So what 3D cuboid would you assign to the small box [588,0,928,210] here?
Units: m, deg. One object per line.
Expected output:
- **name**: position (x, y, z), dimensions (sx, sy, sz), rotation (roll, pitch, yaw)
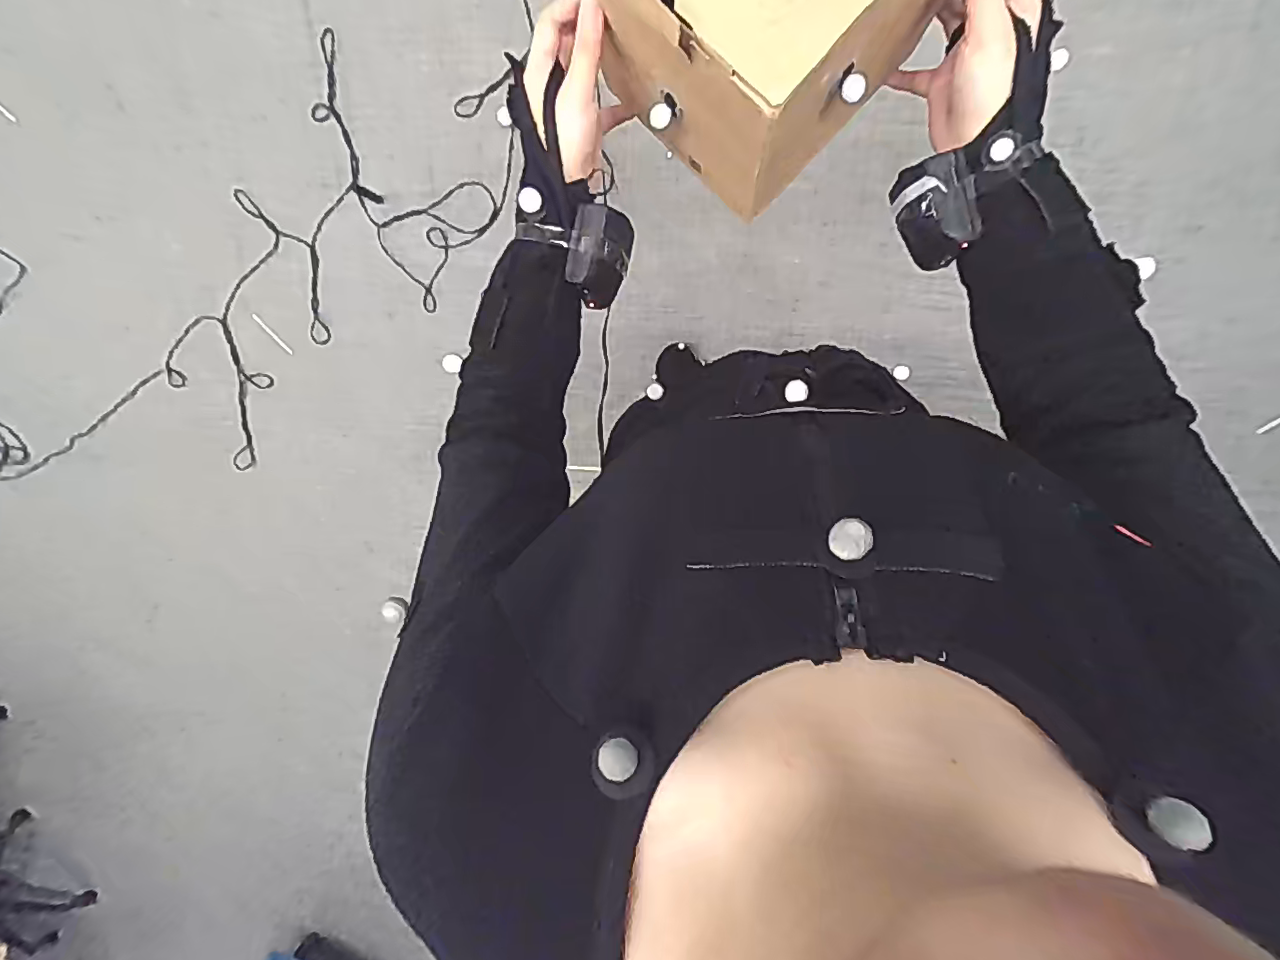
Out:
- **small box**: position (0.080, -0.318, 0.351), dimensions (0.168, 0.176, 0.179), rotation (45, 100, 1)
